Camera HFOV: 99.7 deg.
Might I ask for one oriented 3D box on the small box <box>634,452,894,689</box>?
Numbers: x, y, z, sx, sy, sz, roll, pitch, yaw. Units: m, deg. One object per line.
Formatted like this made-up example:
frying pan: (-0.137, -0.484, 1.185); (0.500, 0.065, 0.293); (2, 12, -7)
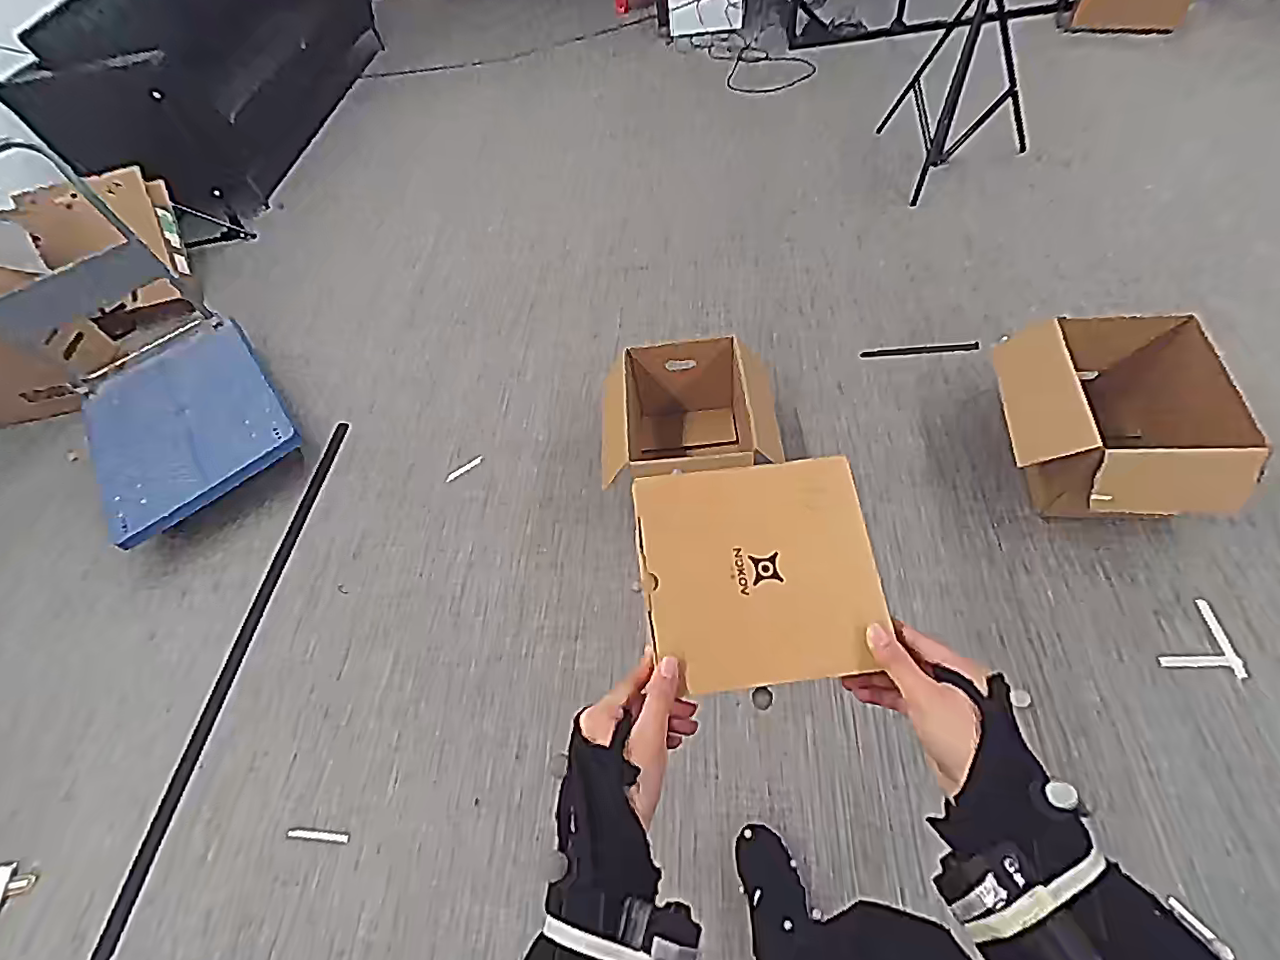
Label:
small box: (0.090, 0.088, 0.486); (0.179, 0.176, 0.168); (-7, 71, 0)
